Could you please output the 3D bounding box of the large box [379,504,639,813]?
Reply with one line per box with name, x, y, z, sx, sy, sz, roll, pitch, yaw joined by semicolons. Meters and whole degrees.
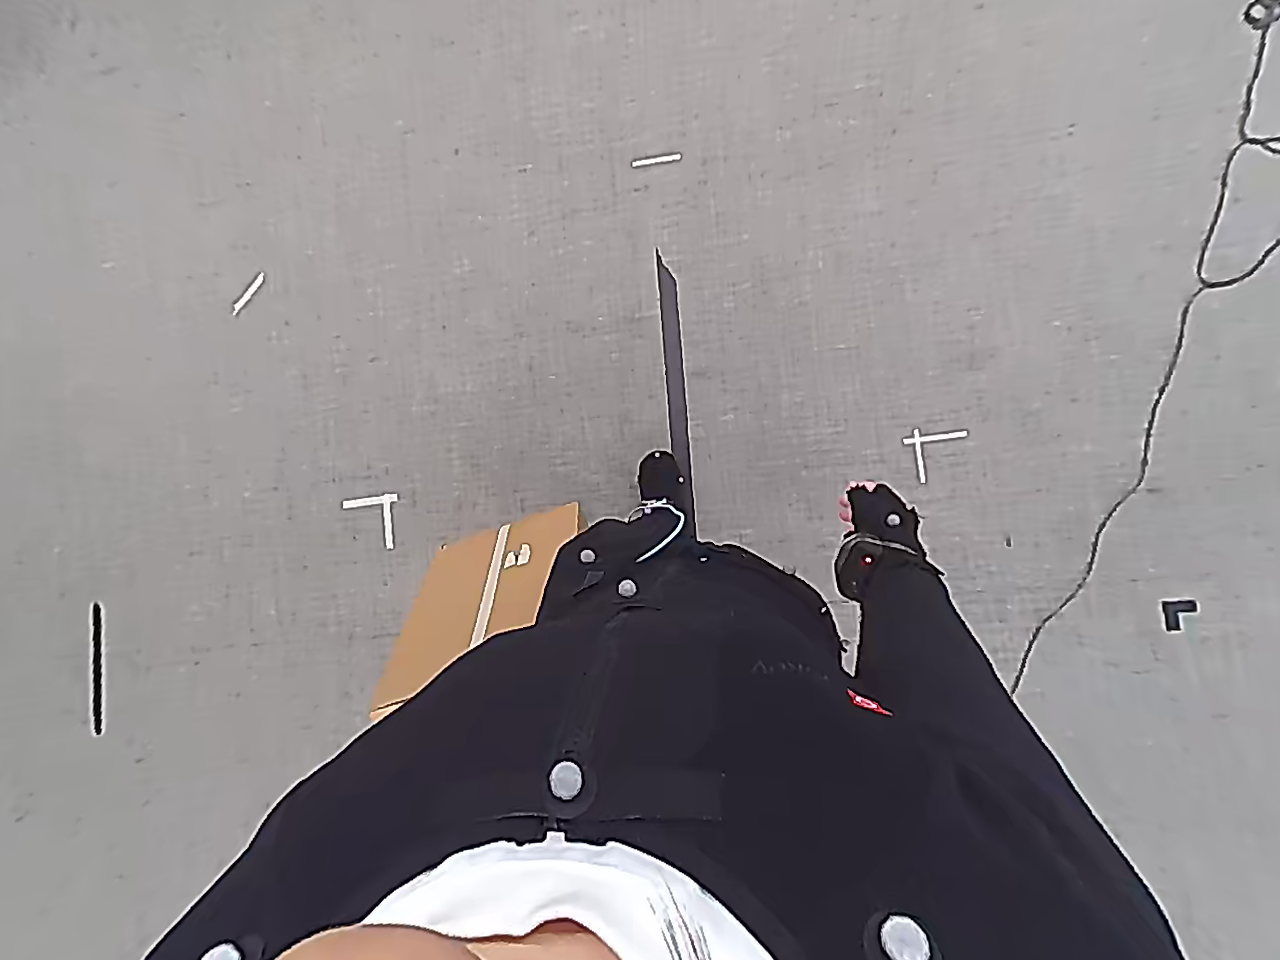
large box;-0.205;0.311;1.012;0.320;0.408;0.320;-18;117;6
